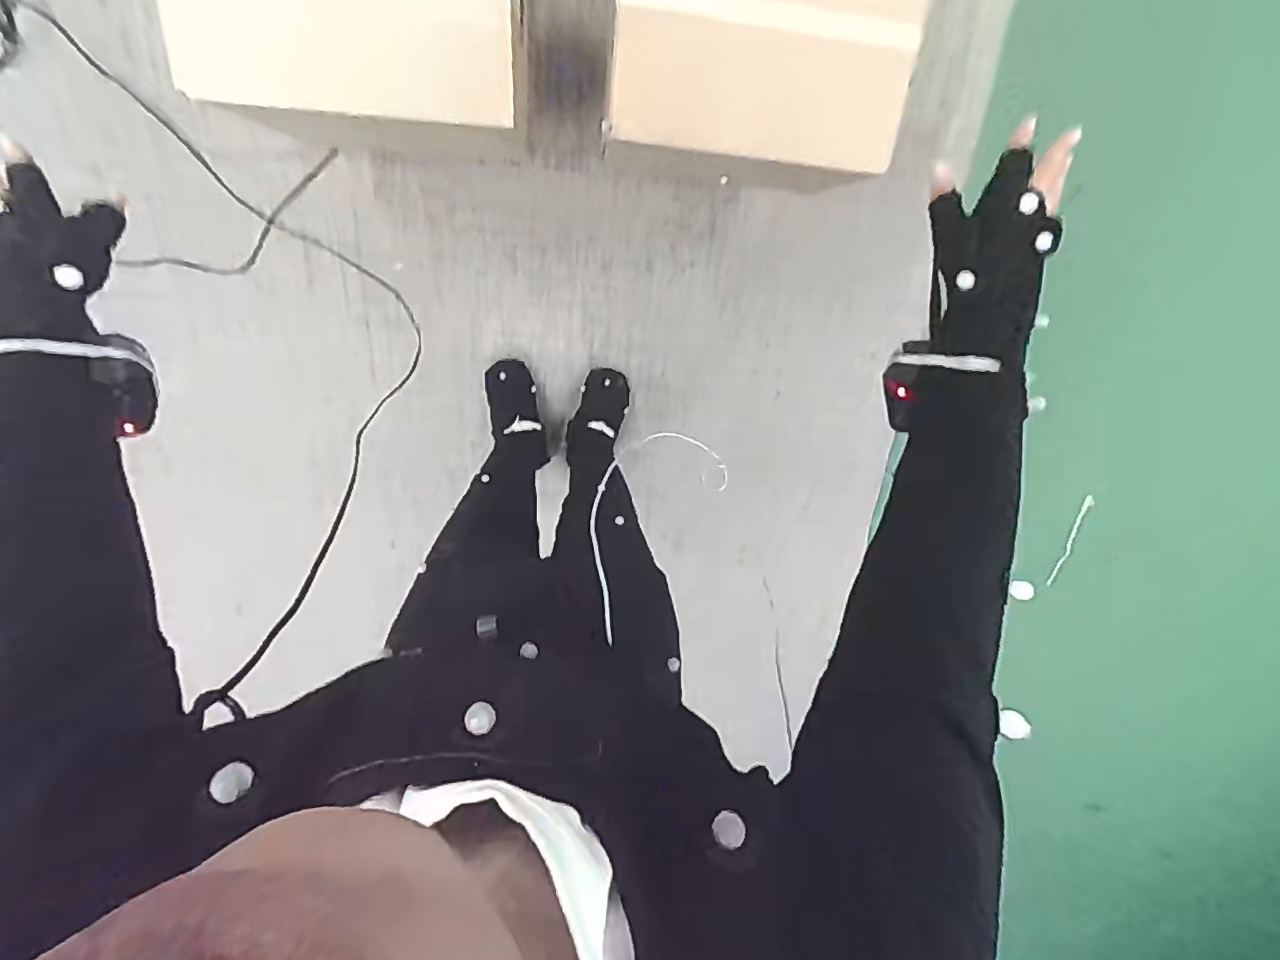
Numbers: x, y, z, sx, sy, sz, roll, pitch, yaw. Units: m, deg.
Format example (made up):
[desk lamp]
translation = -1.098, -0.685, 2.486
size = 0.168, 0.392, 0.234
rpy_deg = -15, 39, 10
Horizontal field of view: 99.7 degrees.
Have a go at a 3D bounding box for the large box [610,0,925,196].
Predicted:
[large box]
translation = 0.167, -0.653, 0.859
size = 0.408, 0.320, 0.320
rpy_deg = 4, 112, -7
